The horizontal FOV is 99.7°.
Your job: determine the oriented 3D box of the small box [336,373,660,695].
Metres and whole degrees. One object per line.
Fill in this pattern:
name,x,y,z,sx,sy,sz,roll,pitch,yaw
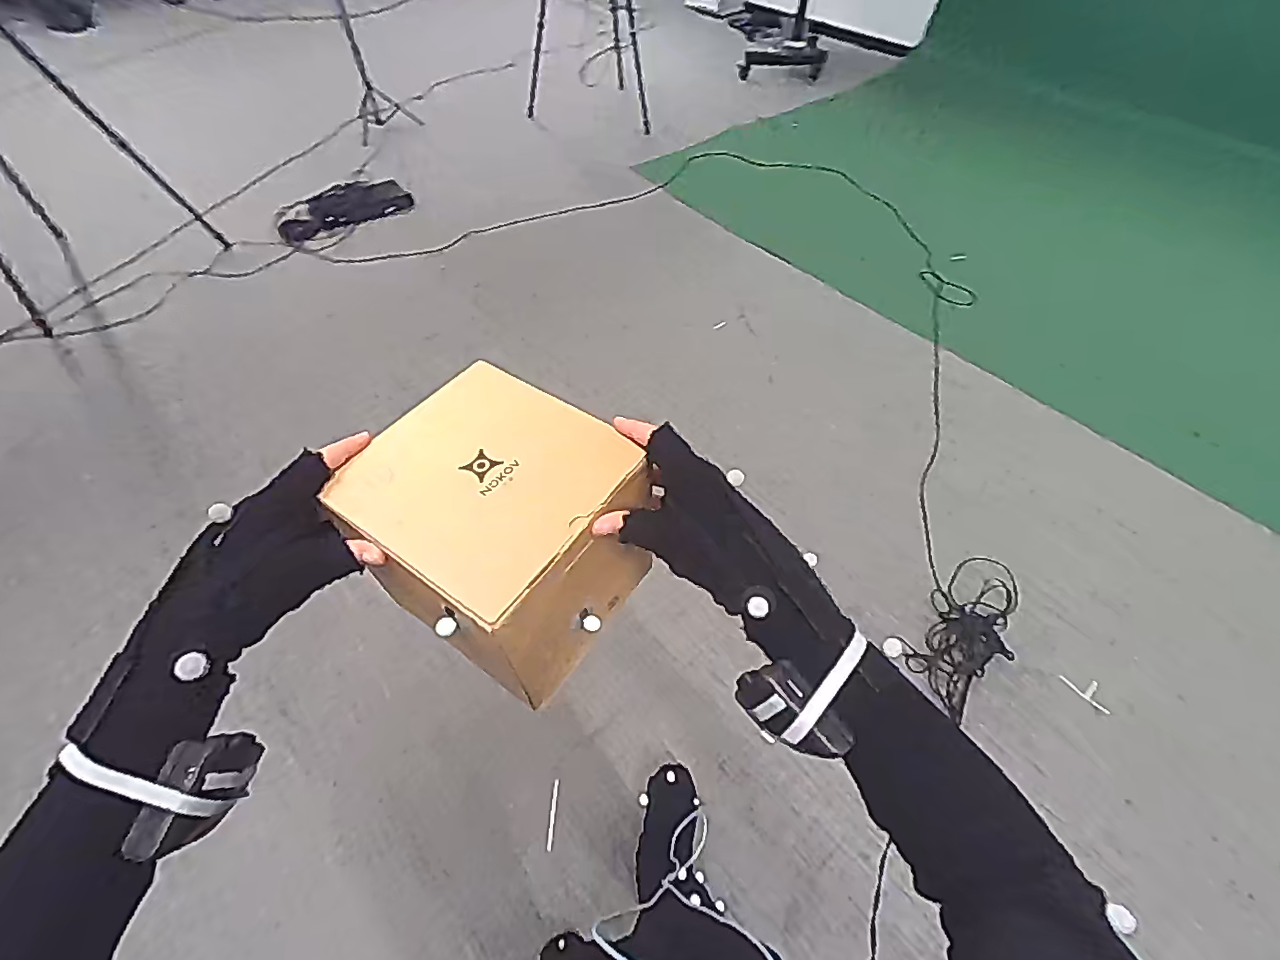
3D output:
small box,-0.101,0.047,0.452,0.179,0.176,0.168,29,57,21
